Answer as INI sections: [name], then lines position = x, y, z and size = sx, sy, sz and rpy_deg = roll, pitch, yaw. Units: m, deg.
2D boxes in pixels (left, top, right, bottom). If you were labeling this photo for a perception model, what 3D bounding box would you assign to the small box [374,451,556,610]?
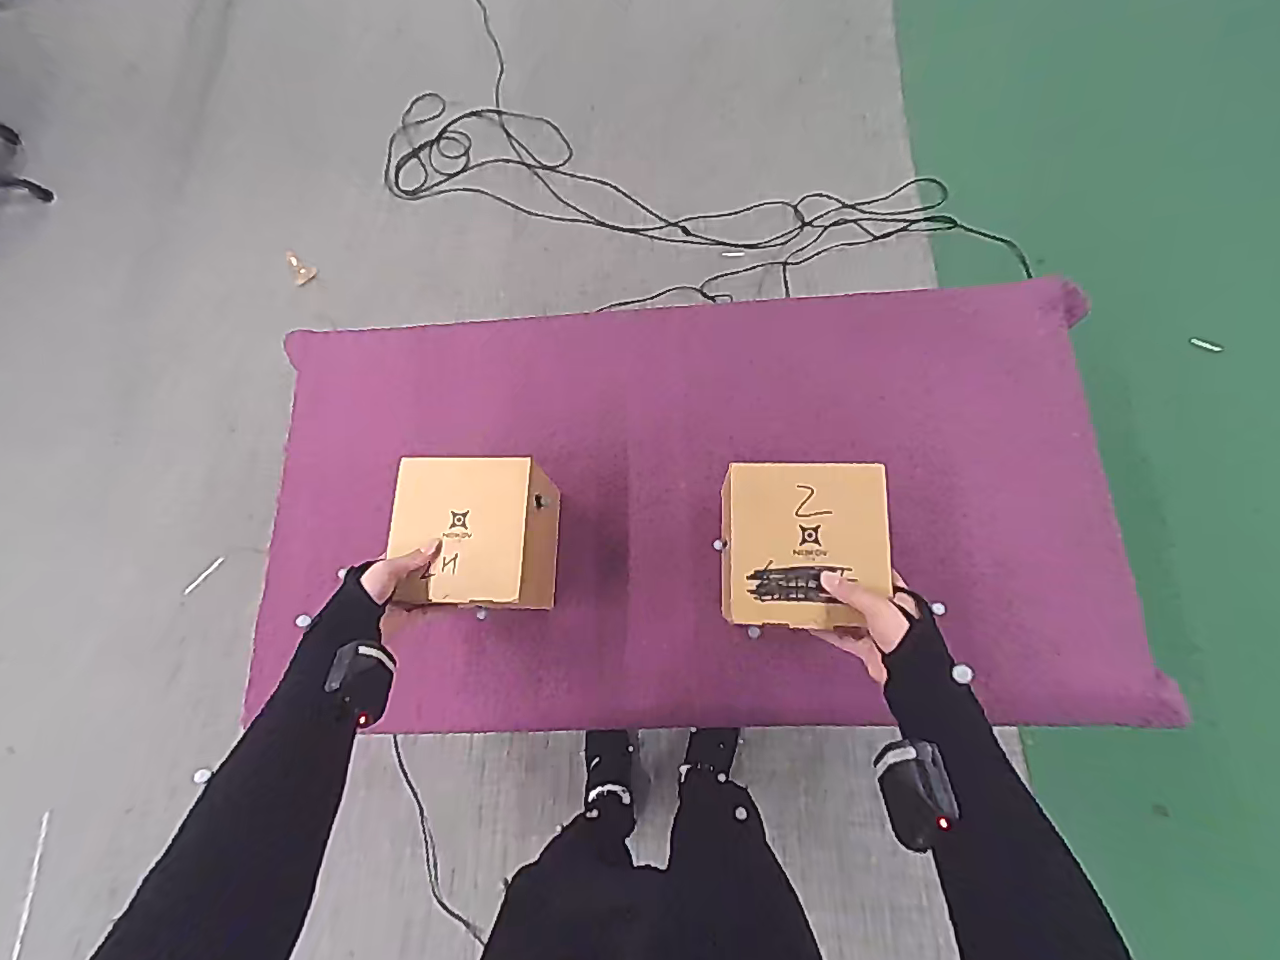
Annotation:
[small box]
position = -0.211, 0.073, 0.705
size = 0.168, 0.176, 0.179
rpy_deg = 1, 74, 5
